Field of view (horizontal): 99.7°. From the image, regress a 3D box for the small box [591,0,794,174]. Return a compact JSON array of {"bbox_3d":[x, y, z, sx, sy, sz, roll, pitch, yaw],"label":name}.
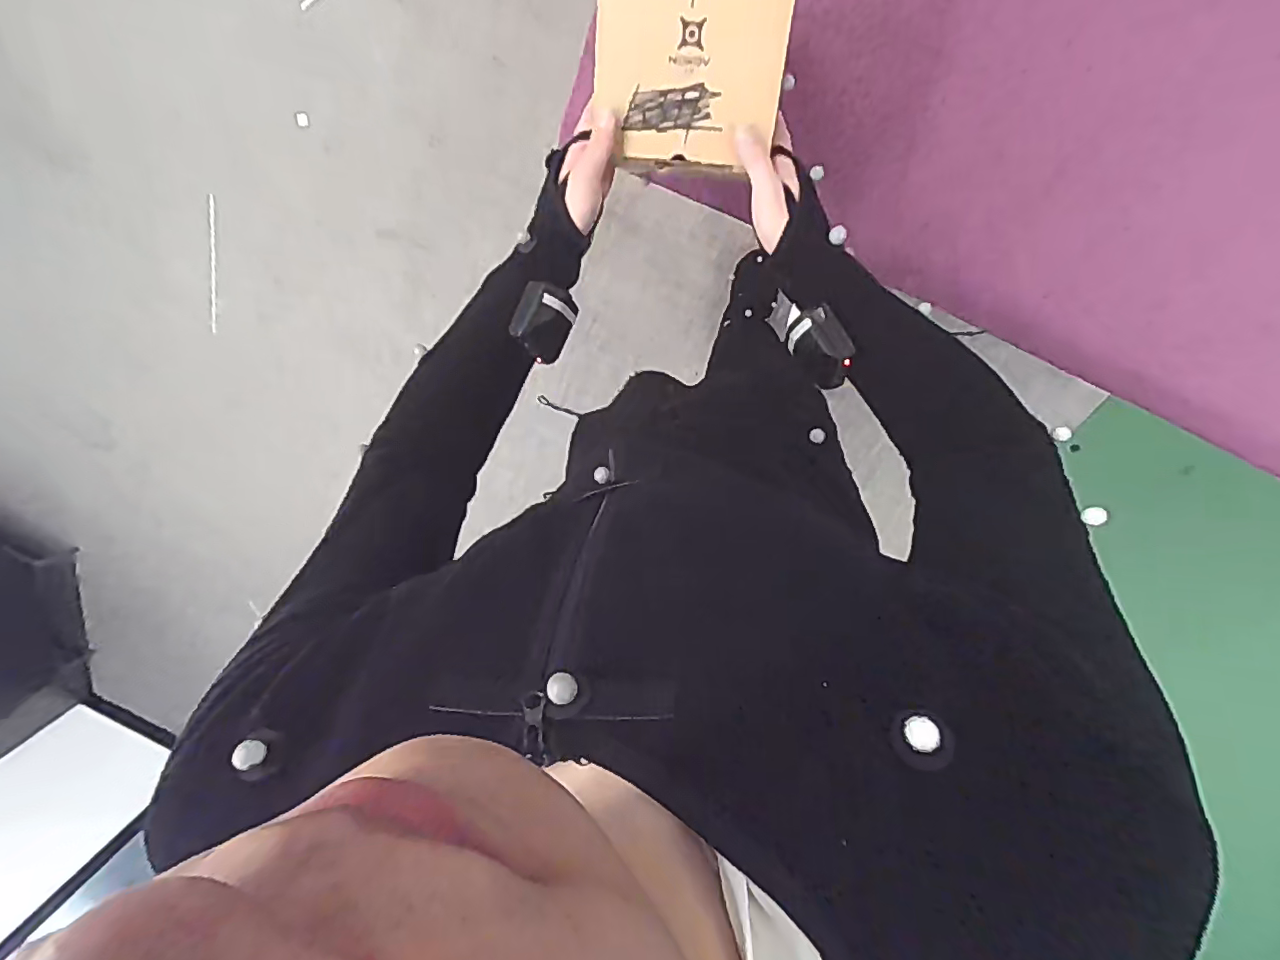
[{"bbox_3d":[0.055,-0.409,0.529,0.168,0.176,0.179,9,116,5],"label":"small box"}]
